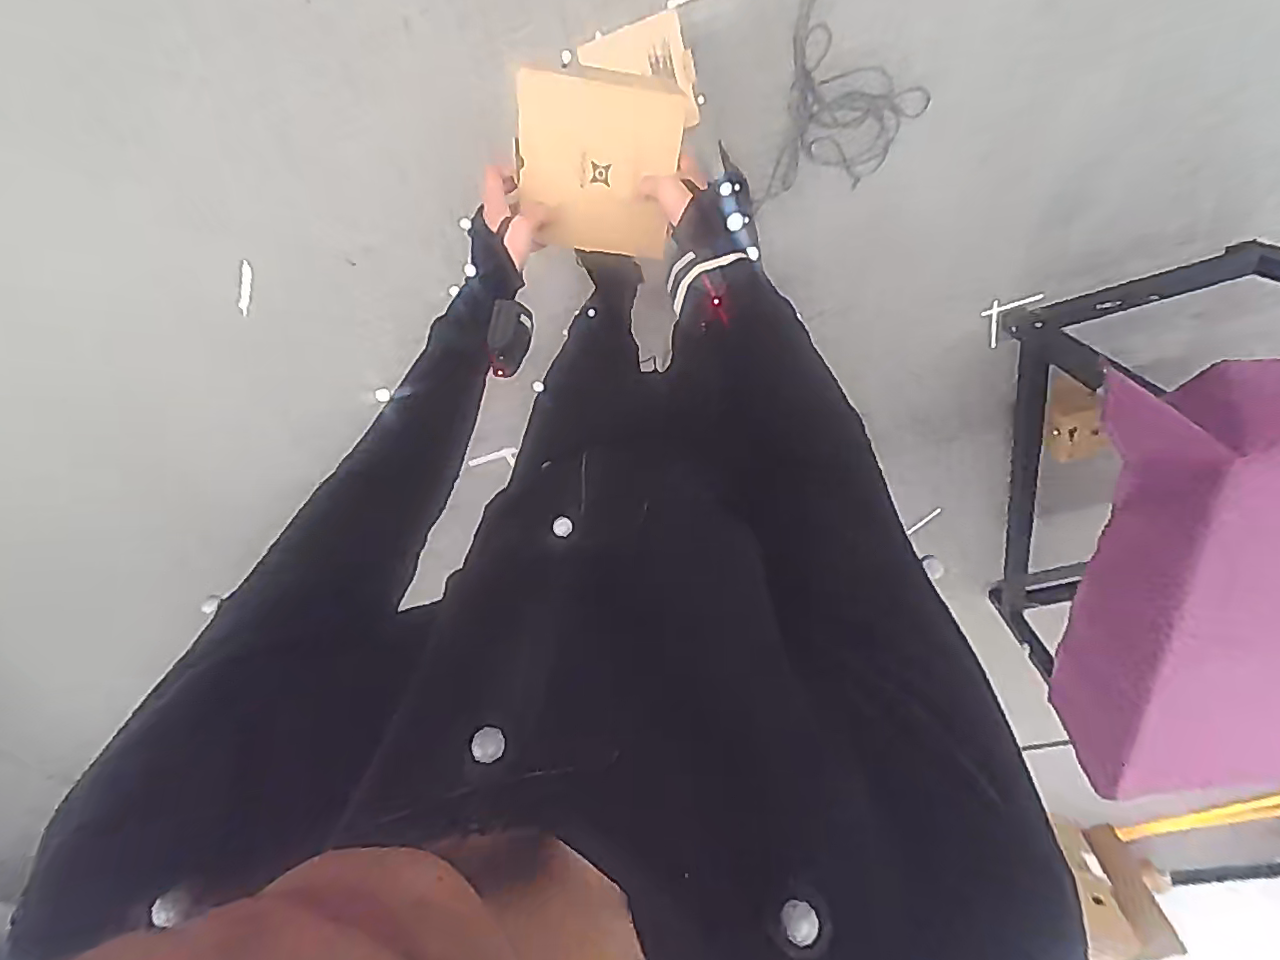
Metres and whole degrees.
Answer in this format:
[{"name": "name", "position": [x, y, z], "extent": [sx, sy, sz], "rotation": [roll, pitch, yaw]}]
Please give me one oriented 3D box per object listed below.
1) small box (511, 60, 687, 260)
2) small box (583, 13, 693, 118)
[{"name": "small box", "position": [-0.051, -0.382, 0.642], "extent": [0.179, 0.176, 0.168], "rotation": [5, 131, -6]}, {"name": "small box", "position": [0.001, -0.811, 1.106], "extent": [0.179, 0.176, 0.168], "rotation": [-15, 124, 12]}]
